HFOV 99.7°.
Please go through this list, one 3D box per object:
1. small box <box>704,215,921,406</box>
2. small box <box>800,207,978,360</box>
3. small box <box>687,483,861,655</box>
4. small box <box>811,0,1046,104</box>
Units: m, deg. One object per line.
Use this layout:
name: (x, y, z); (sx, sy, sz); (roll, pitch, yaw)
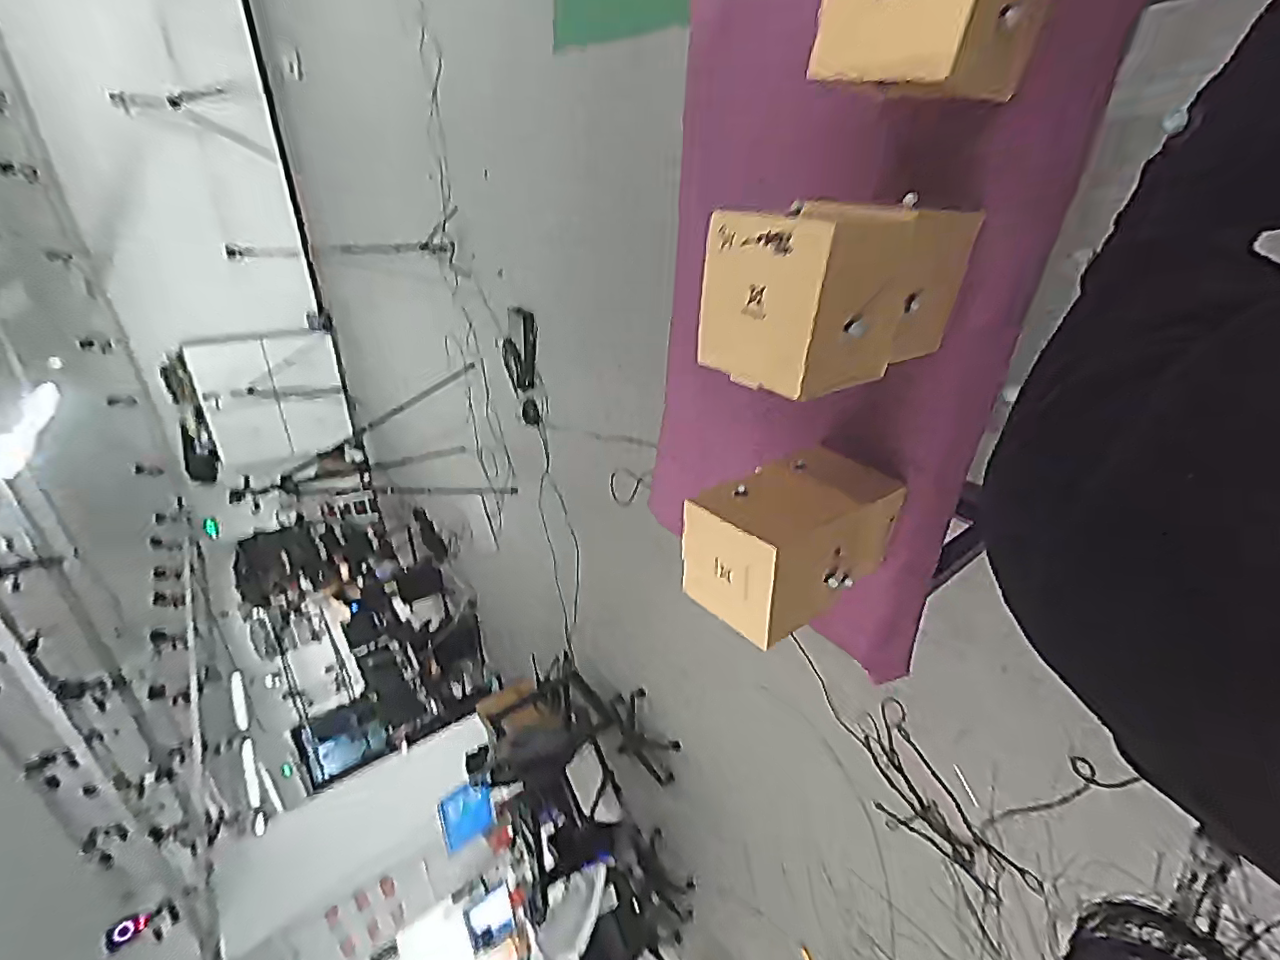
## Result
small box: (0.196, -0.208, 0.634); (0.168, 0.176, 0.179); (33, 132, 43)
small box: (0.317, -0.265, 0.729); (0.168, 0.176, 0.179); (34, 131, 43)
small box: (0.190, 0.116, 0.796); (0.179, 0.176, 0.168); (28, 127, 47)
small box: (0.326, -0.522, 0.593); (0.179, 0.176, 0.168); (38, 135, 40)
